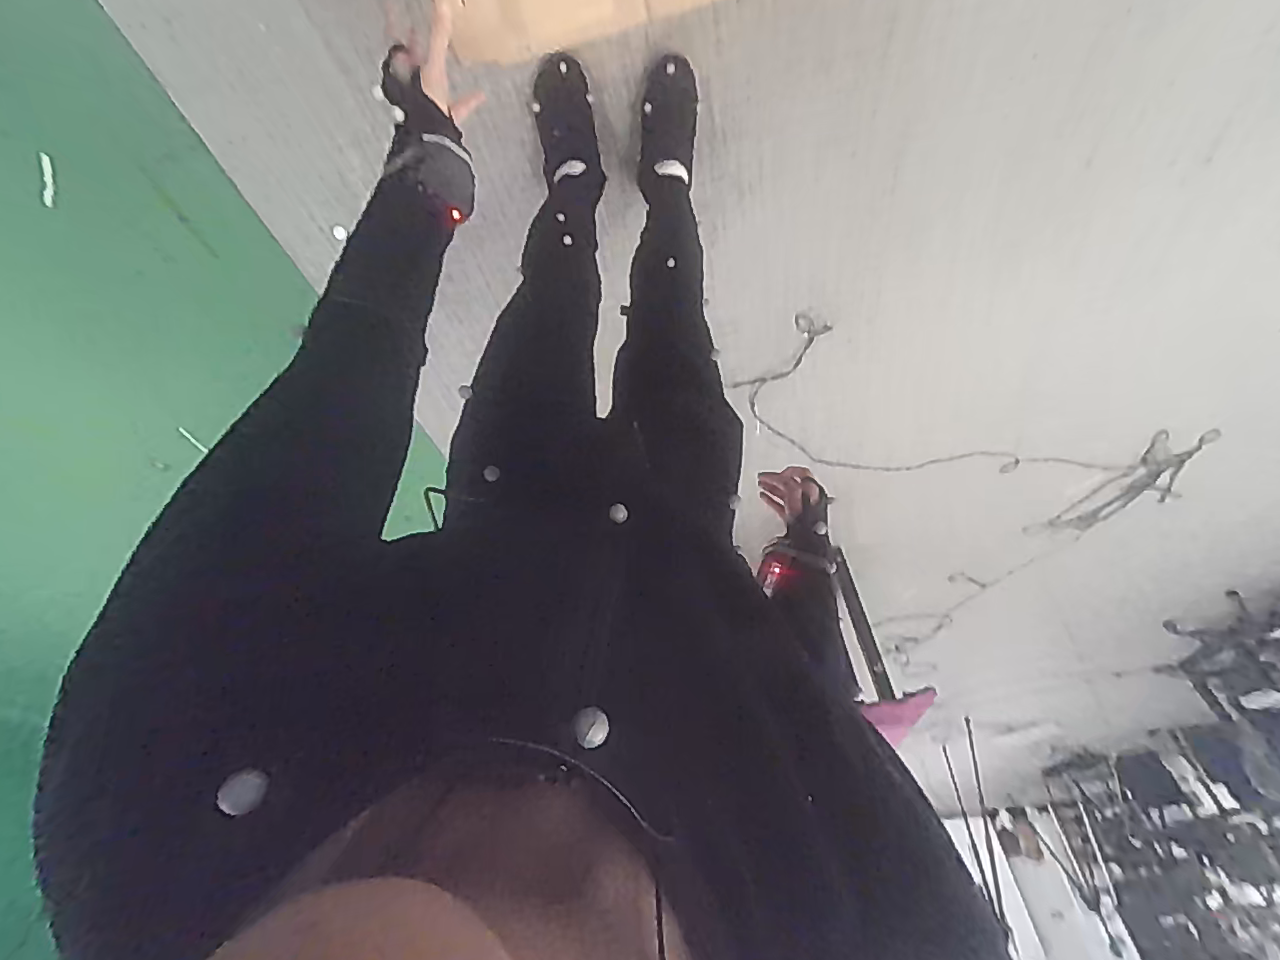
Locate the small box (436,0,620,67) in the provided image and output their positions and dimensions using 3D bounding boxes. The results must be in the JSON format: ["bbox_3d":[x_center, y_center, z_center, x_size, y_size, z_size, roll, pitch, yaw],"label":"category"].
[{"bbox_3d":[-0.127,-0.562,0.551,0.179,0.176,0.168,-14,139,8],"label":"small box"}]
